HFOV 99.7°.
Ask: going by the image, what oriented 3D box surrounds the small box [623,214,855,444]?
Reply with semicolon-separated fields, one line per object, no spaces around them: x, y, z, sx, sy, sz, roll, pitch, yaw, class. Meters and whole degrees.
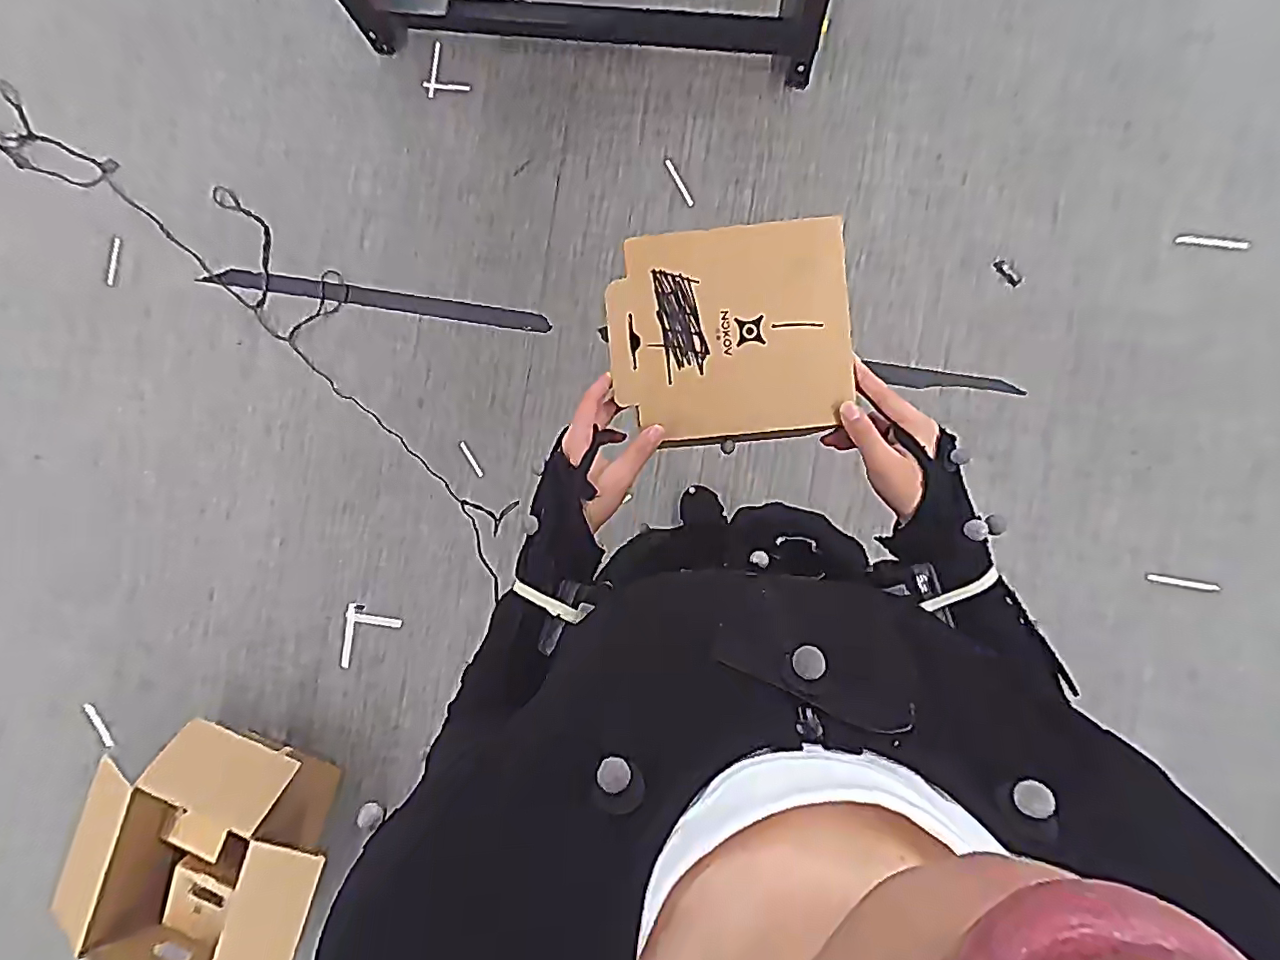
0.083;-0.124;0.512;0.179;0.176;0.168;-5;92;3;small box
